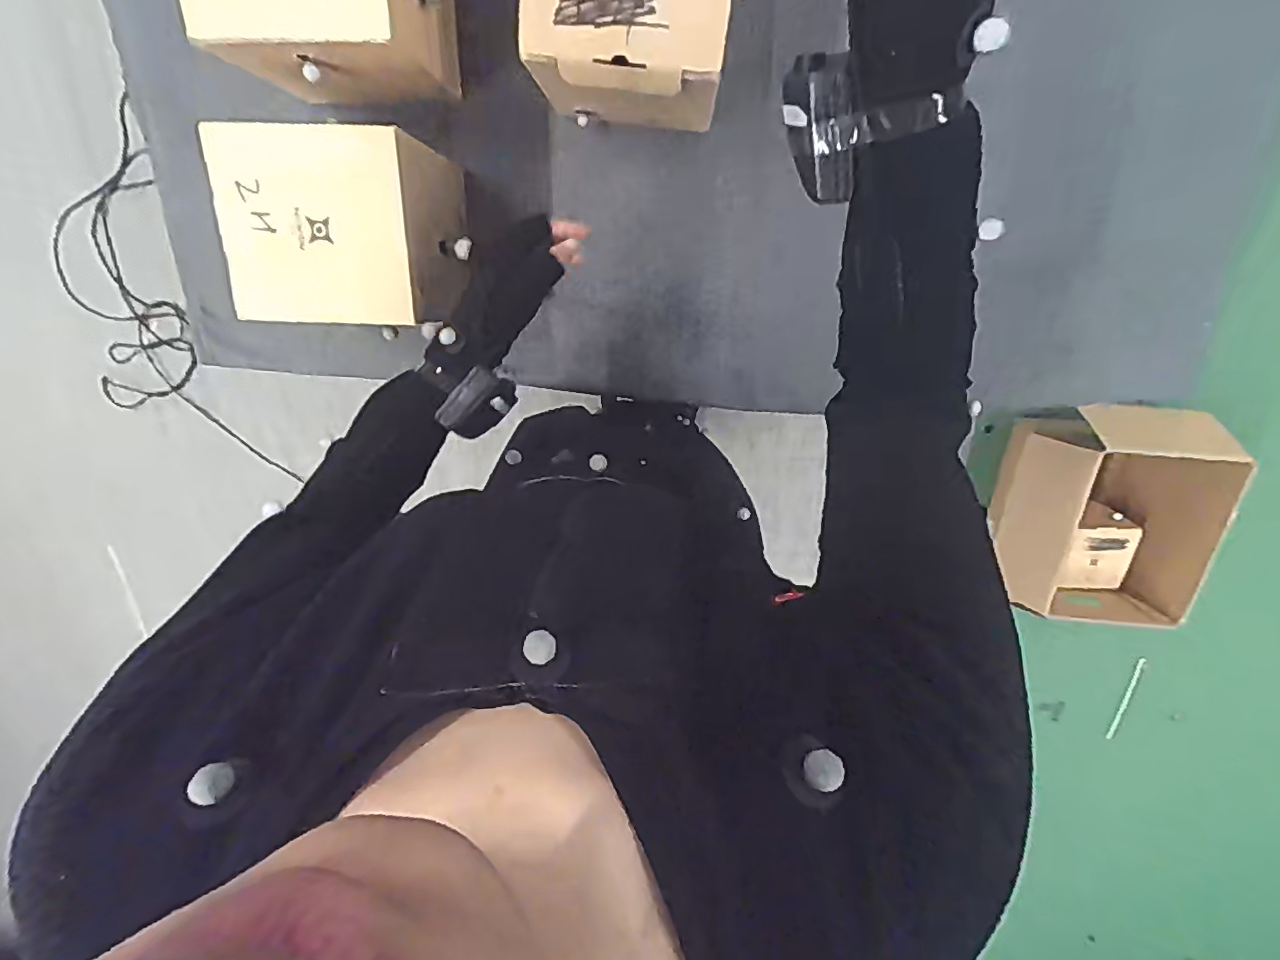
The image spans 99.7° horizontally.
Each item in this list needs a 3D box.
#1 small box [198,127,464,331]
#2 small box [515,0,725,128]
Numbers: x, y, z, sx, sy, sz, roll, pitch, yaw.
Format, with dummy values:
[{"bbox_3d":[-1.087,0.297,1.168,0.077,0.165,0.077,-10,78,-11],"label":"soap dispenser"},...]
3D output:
[{"bbox_3d":[-0.293,-0.248,0.563,0.179,0.176,0.168,2,109,2],"label":"small box"},{"bbox_3d":[-0.006,-0.437,0.480,0.168,0.176,0.179,7,110,1],"label":"small box"}]
